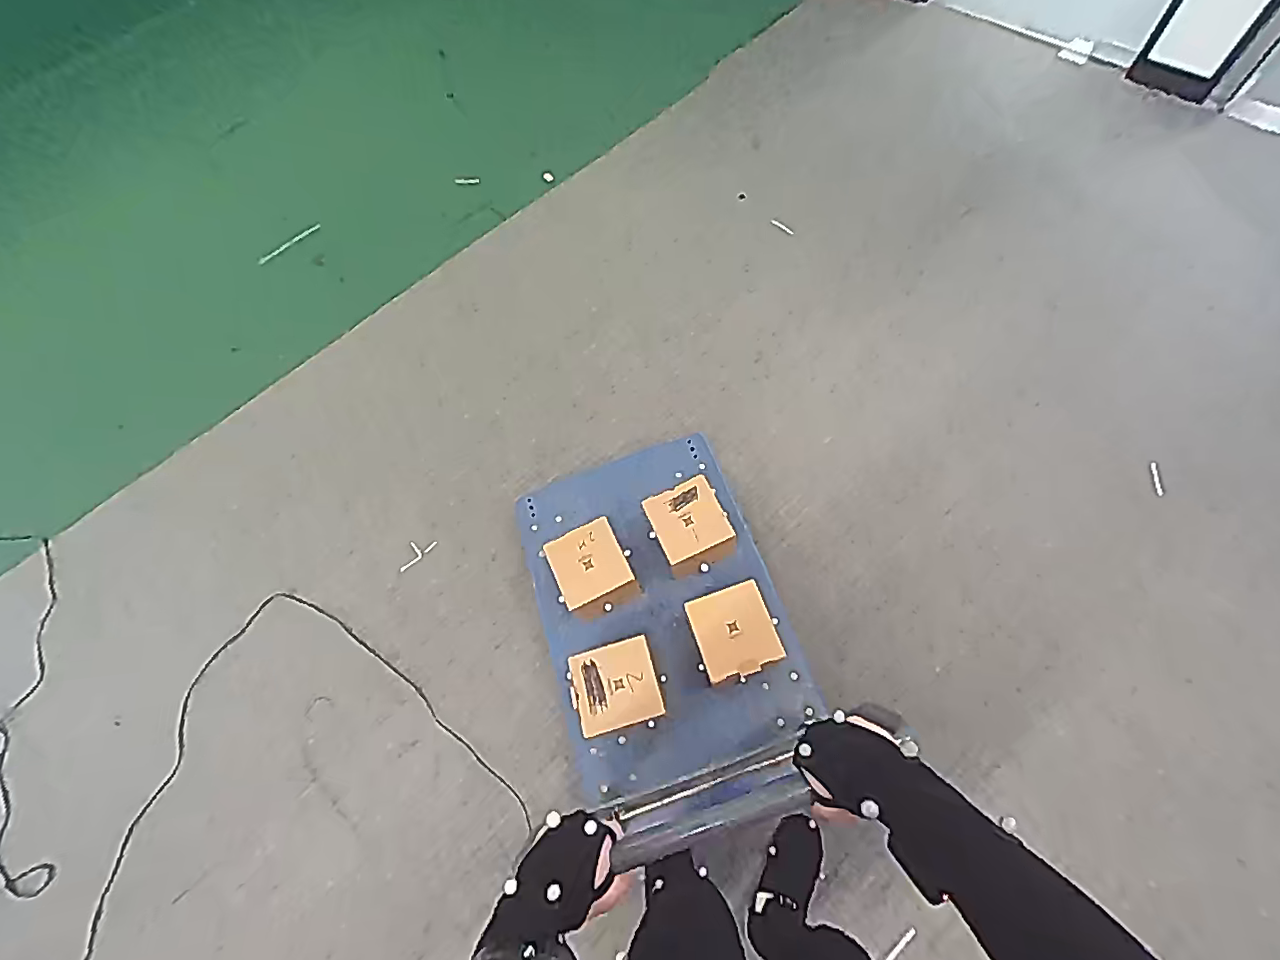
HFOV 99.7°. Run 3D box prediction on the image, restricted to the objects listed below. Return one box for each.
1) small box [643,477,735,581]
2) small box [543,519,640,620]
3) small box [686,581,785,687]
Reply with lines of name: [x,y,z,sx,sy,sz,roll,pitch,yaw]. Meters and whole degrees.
small box: [0.120,0.125,1.336,0.168,0.176,0.179,-25,66,-3]
small box: [-0.112,0.227,1.320,0.168,0.176,0.179,-26,65,-5]
small box: [0.207,0.353,1.223,0.168,0.176,0.179,-19,66,-2]
